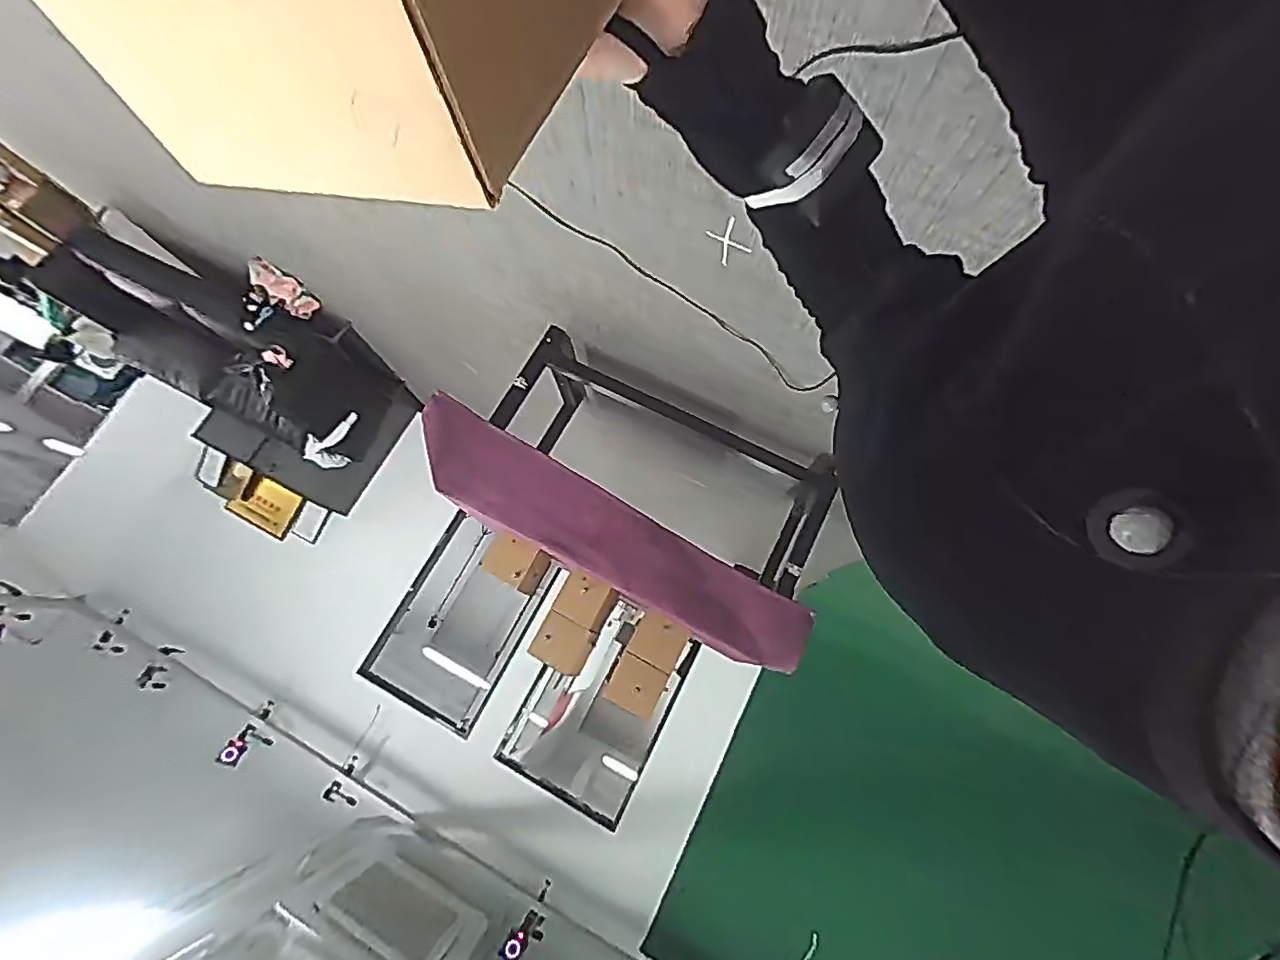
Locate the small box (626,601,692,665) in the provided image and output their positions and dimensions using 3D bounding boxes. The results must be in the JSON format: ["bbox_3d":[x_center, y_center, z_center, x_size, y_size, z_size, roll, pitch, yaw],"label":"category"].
[{"bbox_3d":[0.068,0.543,1.933,0.179,0.176,0.168,26,166,11],"label":"small box"}]

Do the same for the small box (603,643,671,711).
[{"bbox_3d":[-0.008,0.684,1.895,0.179,0.176,0.168,25,166,10],"label":"small box"}]

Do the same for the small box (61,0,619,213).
[{"bbox_3d":[-0.117,-0.239,0.205,0.168,0.176,0.179,13,155,15],"label":"small box"}]

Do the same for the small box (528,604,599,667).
[{"bbox_3d":[-0.269,0.556,1.946,0.179,0.176,0.168,24,167,14],"label":"small box"}]

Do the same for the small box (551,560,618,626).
[{"bbox_3d":[-0.197,0.416,1.988,0.168,0.176,0.179,24,165,16],"label":"small box"}]
